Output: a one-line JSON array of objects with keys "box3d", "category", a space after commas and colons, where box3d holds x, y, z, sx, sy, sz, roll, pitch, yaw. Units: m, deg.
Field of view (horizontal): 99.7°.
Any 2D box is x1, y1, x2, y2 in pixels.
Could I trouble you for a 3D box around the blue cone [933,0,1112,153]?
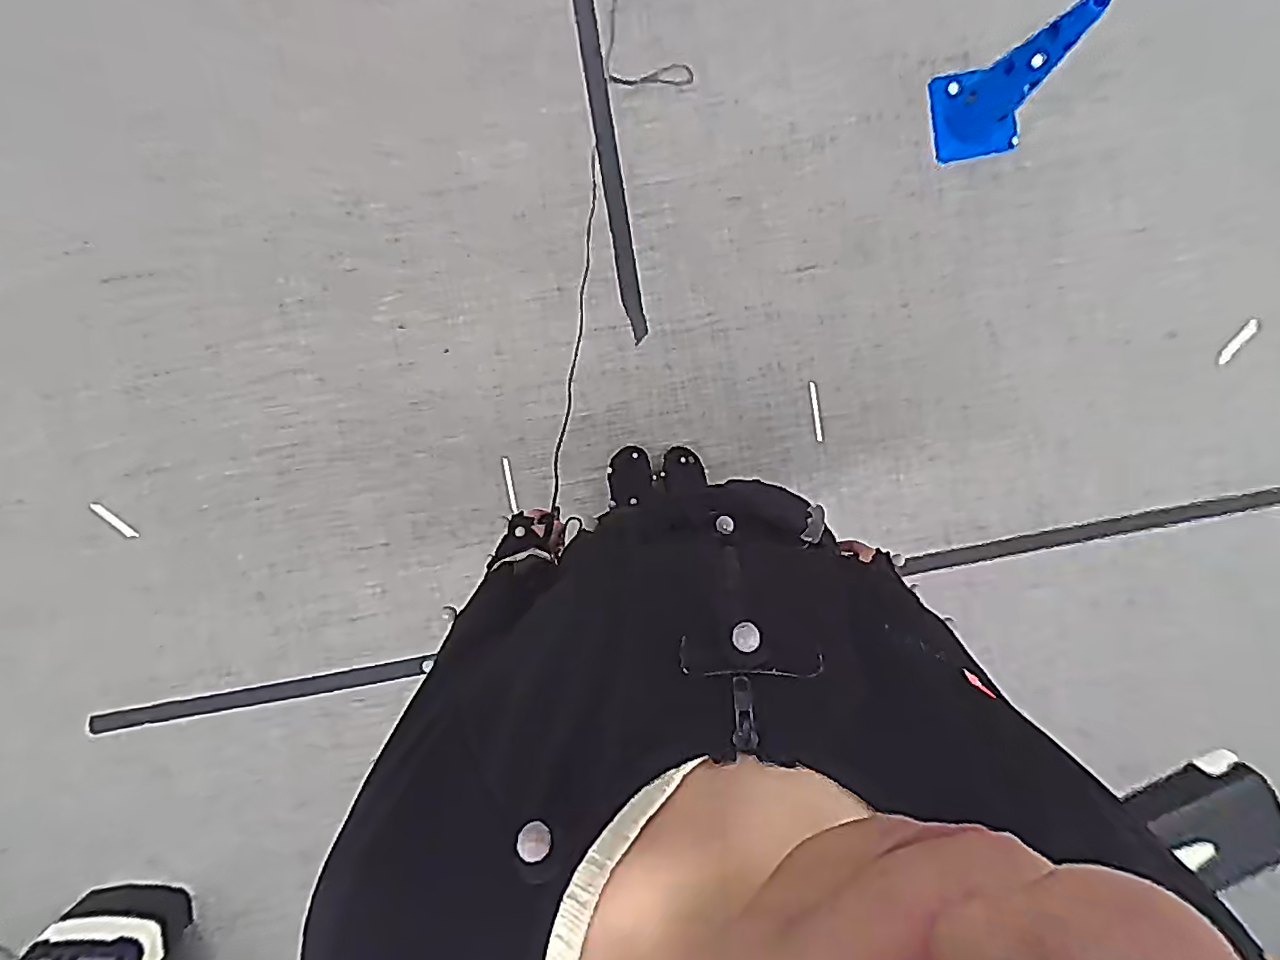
[{"box3d": [0.805, -0.873, 1.130, 0.192, 0.380, 0.193, -10, 96, -1], "category": "blue cone"}]
